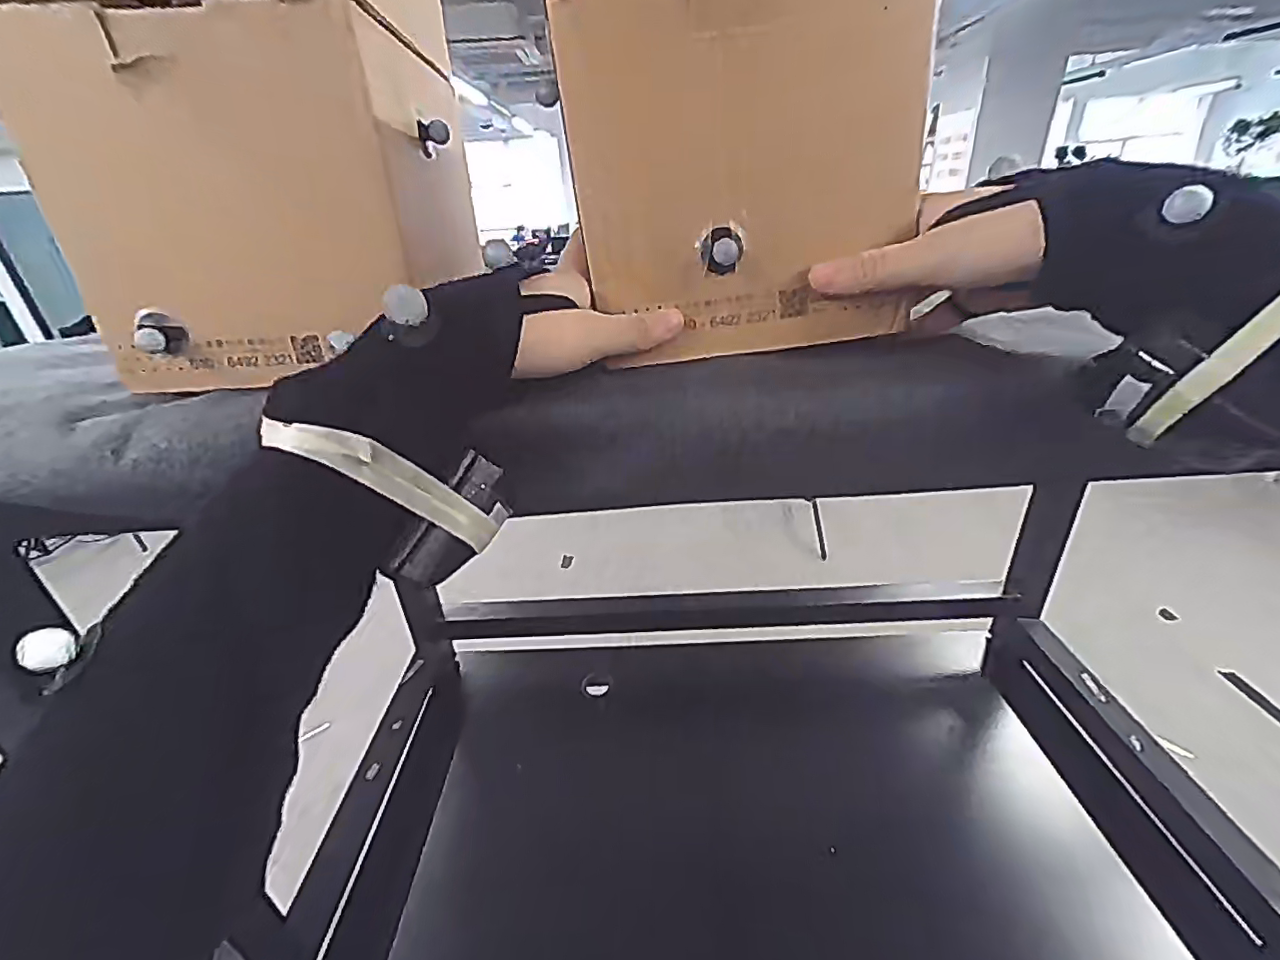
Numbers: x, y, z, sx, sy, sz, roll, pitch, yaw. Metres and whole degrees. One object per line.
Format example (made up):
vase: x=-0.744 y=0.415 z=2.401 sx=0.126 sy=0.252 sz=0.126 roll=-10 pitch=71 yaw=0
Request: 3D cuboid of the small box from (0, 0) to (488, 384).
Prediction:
small box: x=-0.201 y=-0.159 z=0.335 sx=0.168 sy=0.176 sz=0.179 roll=-3 pitch=25 yaw=-1

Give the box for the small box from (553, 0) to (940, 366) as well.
small box: x=0.050 y=-0.176 z=0.332 sx=0.168 sy=0.176 sz=0.179 roll=-6 pitch=26 yaw=2
